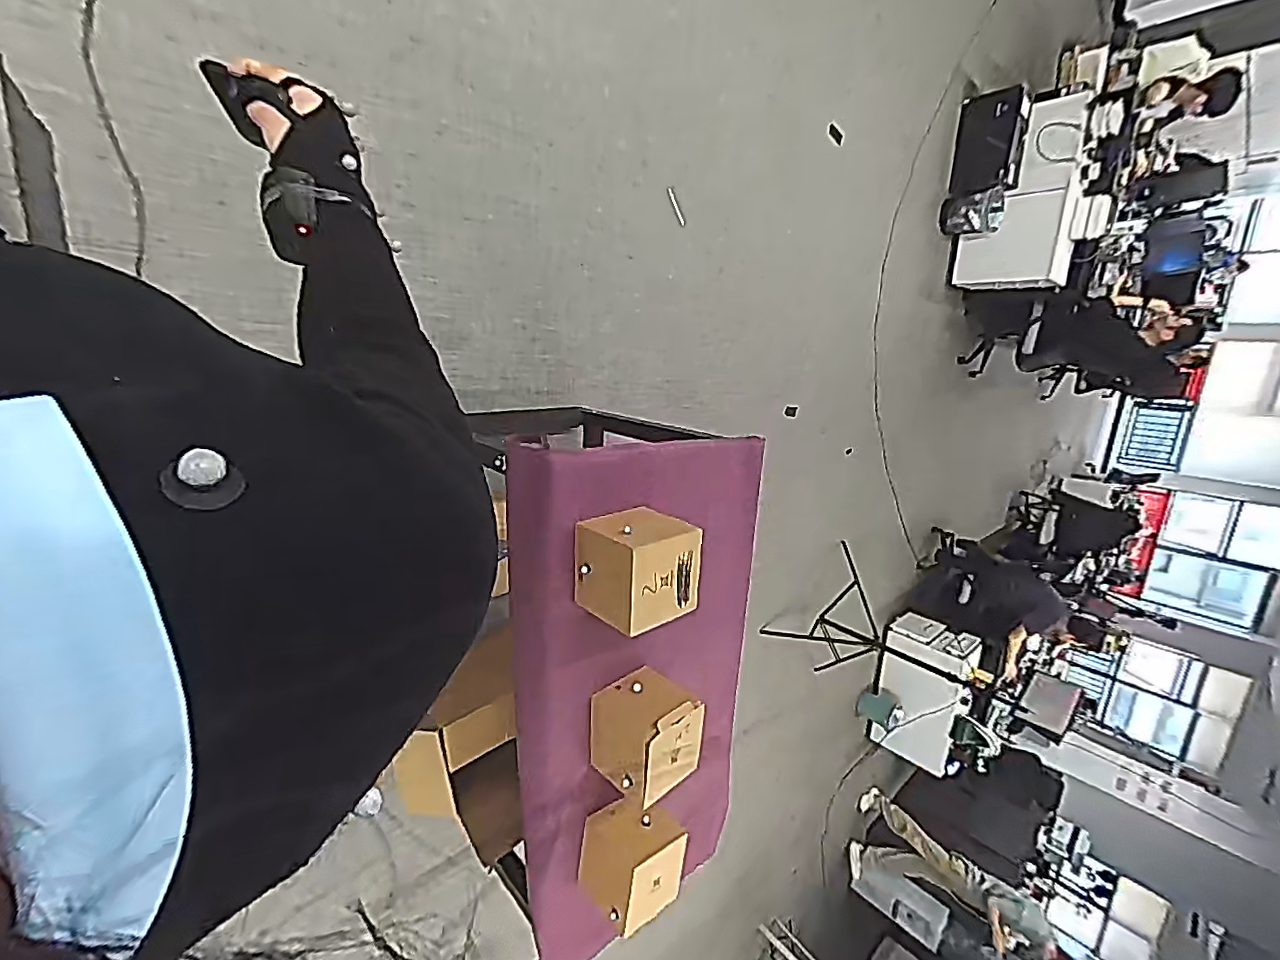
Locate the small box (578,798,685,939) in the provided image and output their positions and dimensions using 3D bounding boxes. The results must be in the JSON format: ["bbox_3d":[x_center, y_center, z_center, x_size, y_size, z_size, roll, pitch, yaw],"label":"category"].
[{"bbox_3d":[-0.024,0.851,1.215,0.168,0.176,0.179,-2,104,-43],"label":"small box"}]

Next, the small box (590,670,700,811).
[{"bbox_3d":[0.007,0.541,1.149,0.168,0.176,0.179,-13,111,-44],"label":"small box"}]
